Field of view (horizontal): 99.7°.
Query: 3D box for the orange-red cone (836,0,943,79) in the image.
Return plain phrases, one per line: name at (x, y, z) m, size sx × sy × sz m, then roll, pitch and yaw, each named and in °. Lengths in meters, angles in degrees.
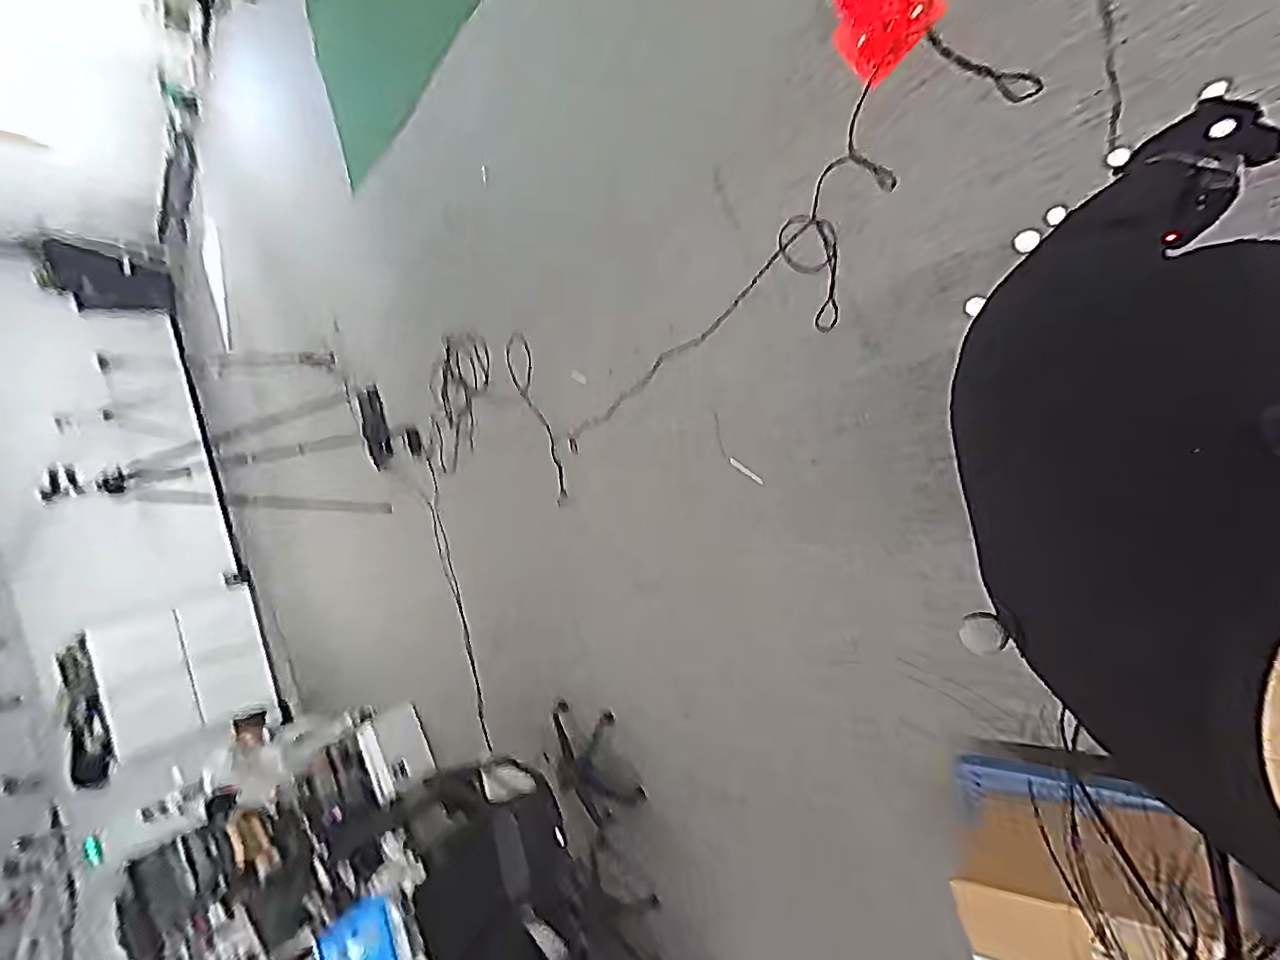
orange-red cone at (0.476, -1.084, 1.176) m, size 0.198 × 0.360 × 0.199 m, roll -38°, pitch 73°, yaw 41°
